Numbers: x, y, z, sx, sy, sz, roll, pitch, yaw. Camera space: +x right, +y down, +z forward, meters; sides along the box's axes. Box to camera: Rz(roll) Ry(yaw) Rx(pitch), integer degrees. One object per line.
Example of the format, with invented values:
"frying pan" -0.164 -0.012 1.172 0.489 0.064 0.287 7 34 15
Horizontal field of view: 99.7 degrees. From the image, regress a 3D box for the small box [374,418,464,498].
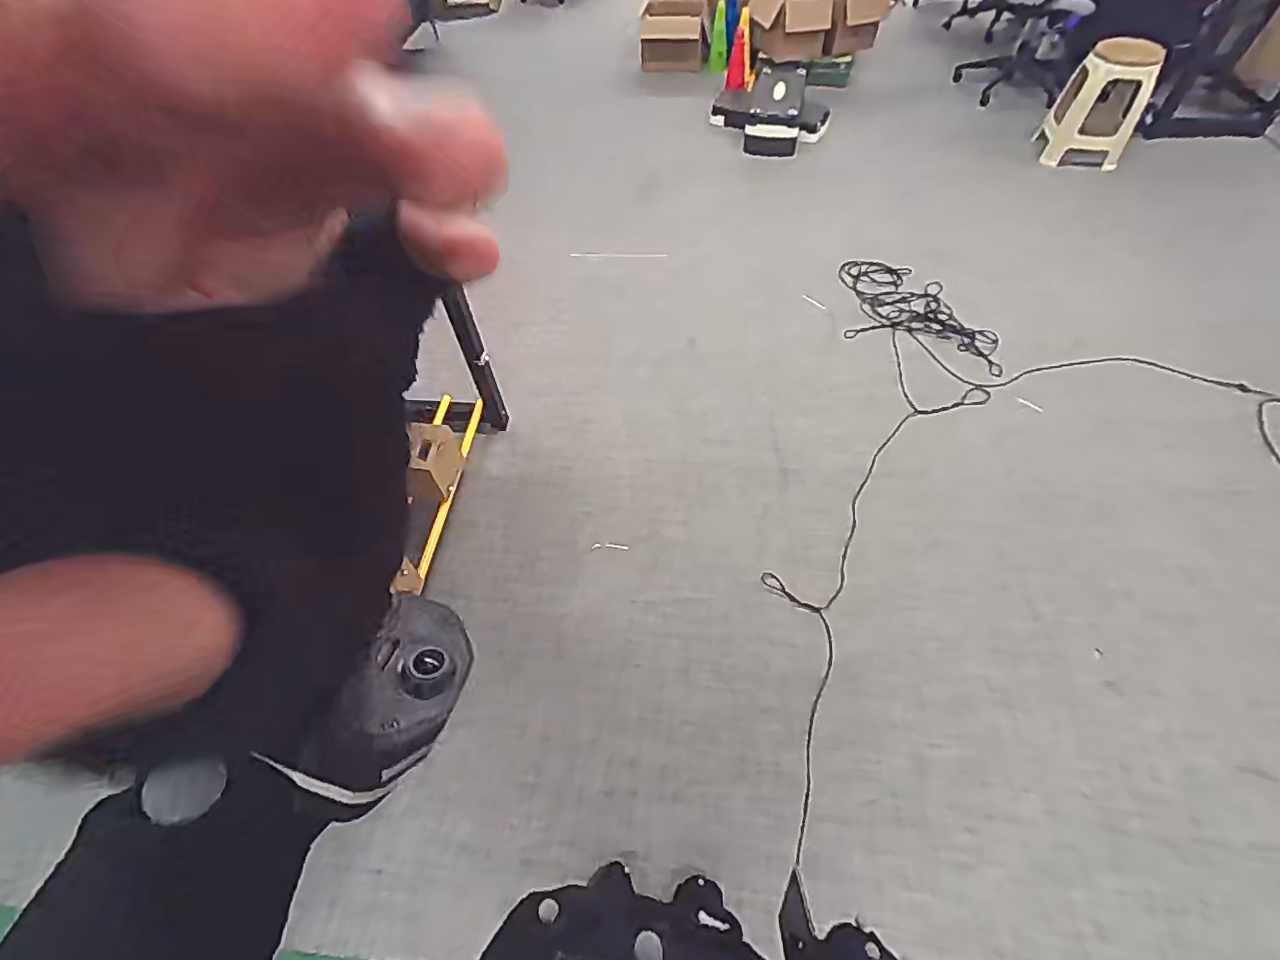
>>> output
"small box" -0.652 -0.061 1.621 0.179 0.176 0.168 6 55 7
